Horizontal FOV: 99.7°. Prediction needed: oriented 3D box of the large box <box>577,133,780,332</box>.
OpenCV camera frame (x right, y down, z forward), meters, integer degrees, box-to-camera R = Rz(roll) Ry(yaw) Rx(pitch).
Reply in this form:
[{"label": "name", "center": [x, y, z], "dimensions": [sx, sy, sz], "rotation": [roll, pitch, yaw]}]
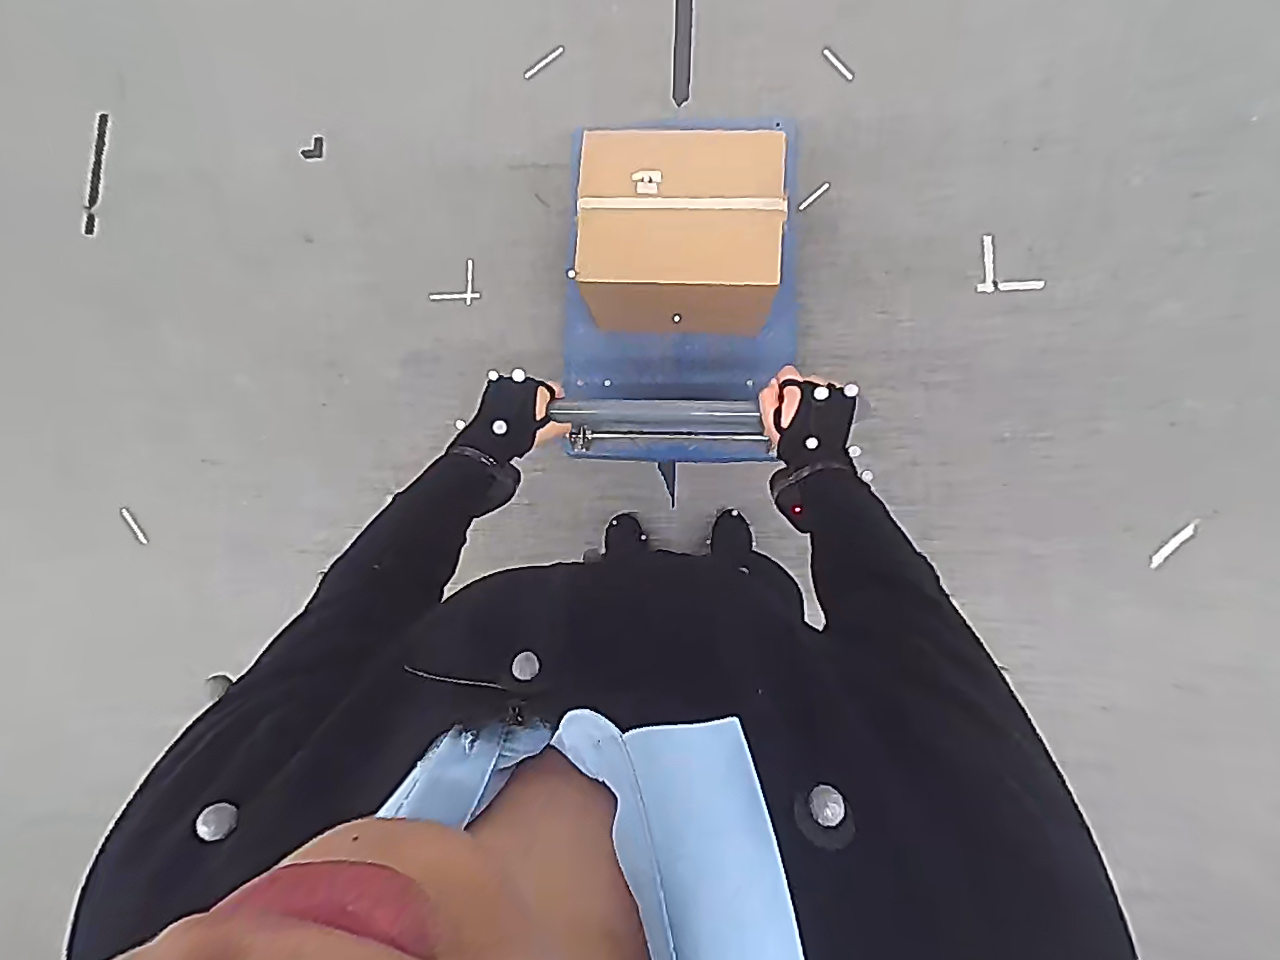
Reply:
[{"label": "large box", "center": [0.091, -0.533, 1.227], "dimensions": [0.408, 0.320, 0.320], "rotation": [3, 86, 5]}]
